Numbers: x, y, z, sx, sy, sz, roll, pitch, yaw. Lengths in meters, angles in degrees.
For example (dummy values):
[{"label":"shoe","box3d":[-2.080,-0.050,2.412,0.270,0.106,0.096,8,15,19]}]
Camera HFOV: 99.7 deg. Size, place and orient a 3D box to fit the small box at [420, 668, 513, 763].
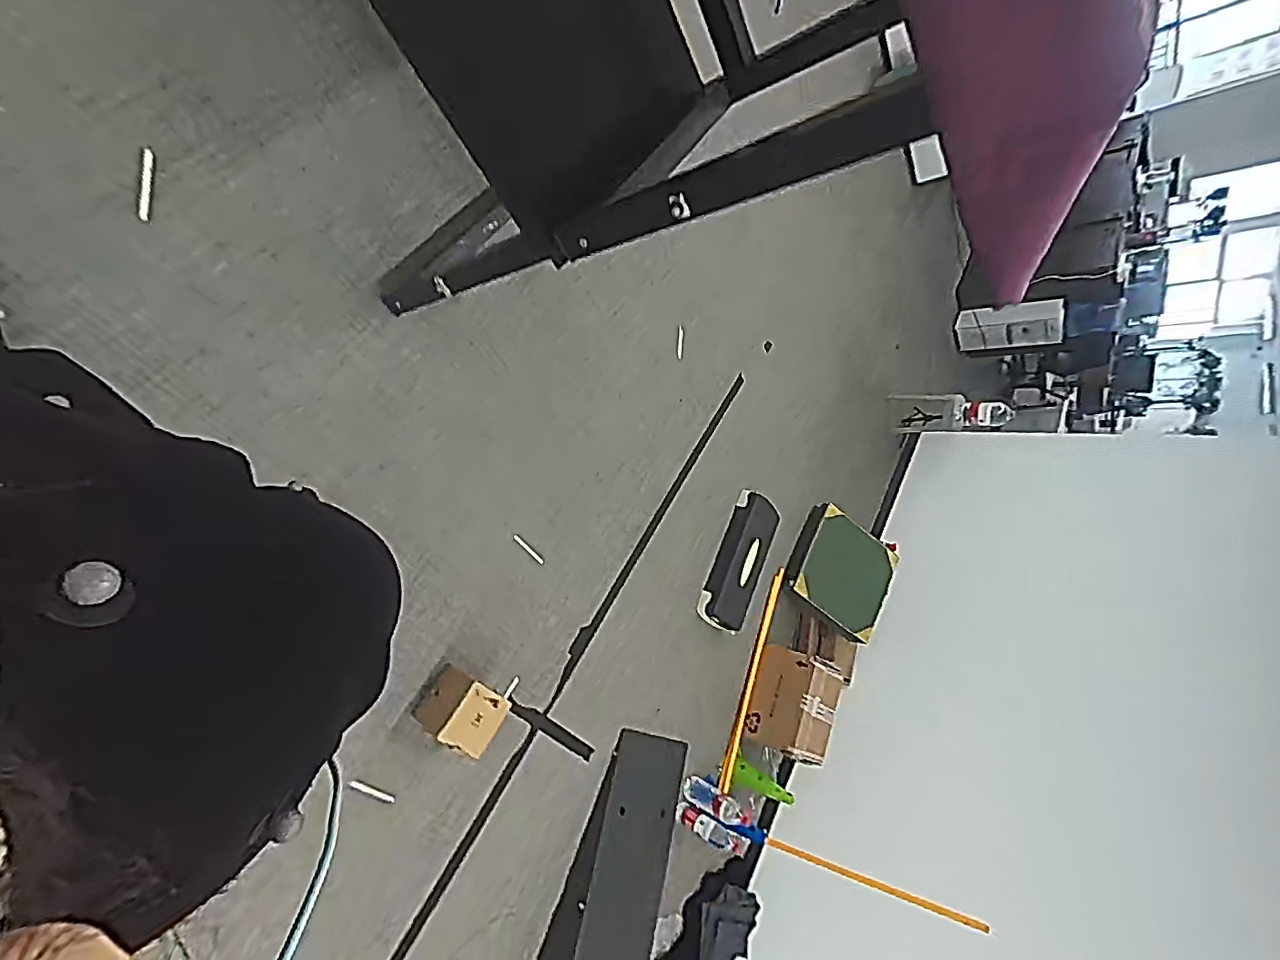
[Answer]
[{"label":"small box","box3d":[-0.518,0.687,1.591,0.179,0.176,0.168,-56,129,-24]}]
